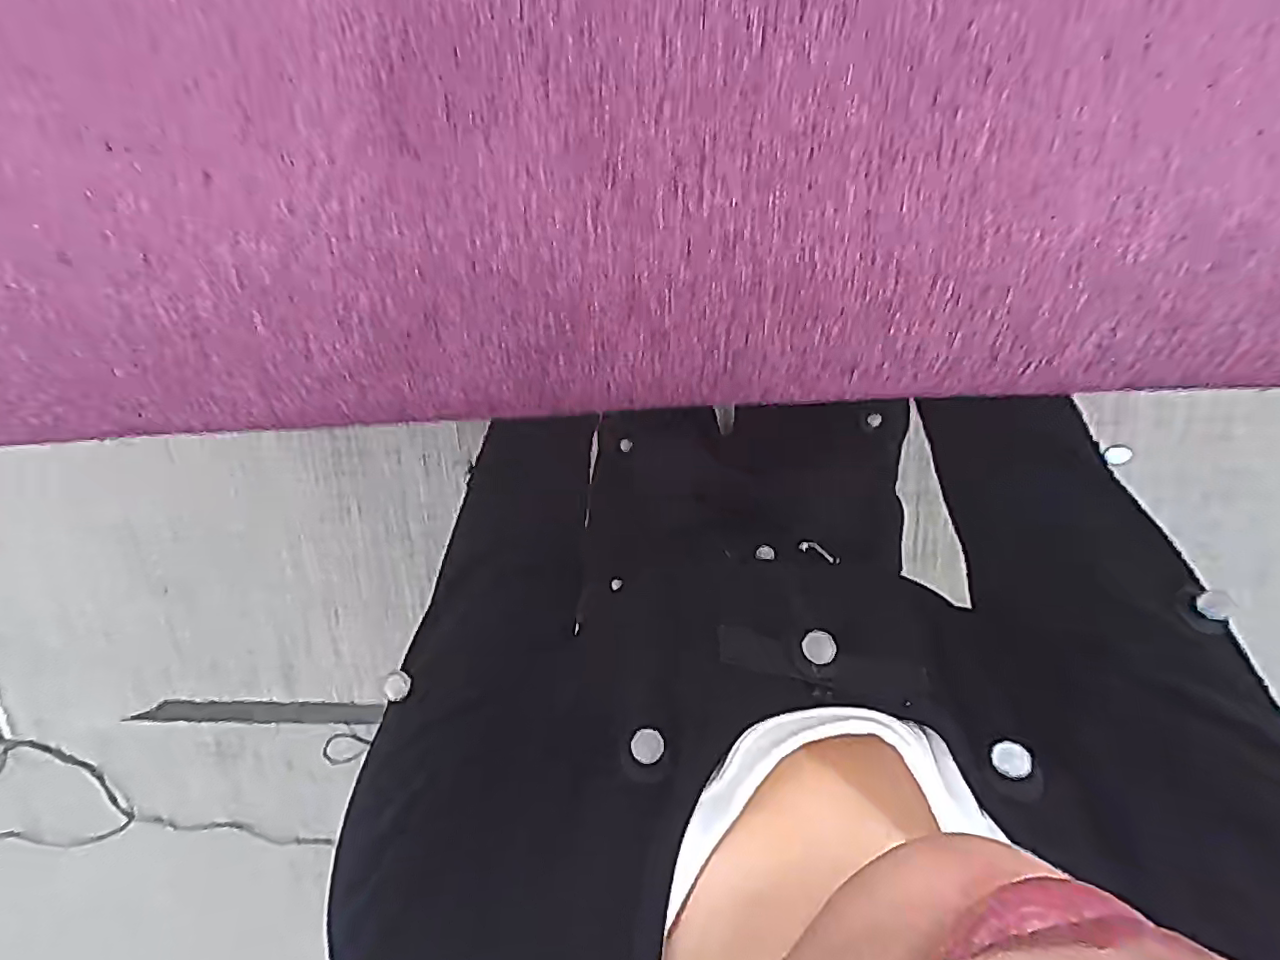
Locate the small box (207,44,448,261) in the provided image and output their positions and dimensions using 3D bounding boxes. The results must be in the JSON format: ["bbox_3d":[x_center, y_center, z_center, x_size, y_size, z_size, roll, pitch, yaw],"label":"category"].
[{"bbox_3d":[-0.344,-0.364,0.634,0.168,0.176,0.179,-2,106,4],"label":"small box"}]

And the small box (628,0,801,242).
[{"bbox_3d":[0.080,-0.378,0.603,0.168,0.176,0.179,-3,106,7],"label":"small box"}]
